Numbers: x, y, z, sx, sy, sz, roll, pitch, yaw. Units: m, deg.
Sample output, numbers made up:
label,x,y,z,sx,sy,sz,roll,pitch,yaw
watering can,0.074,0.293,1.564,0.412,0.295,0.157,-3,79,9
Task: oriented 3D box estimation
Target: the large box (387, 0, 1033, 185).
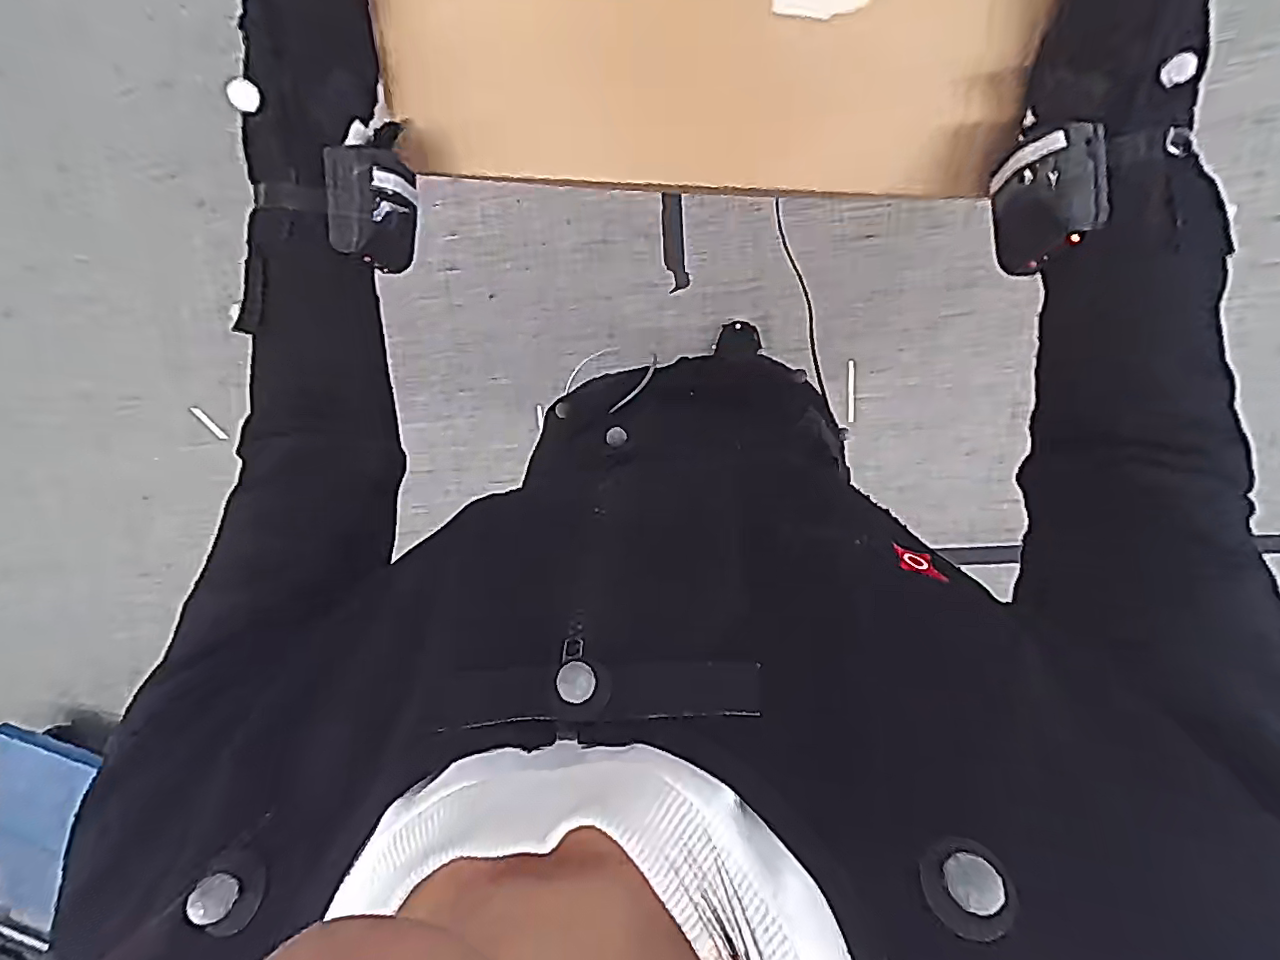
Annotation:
label,x,y,z,sx,sy,sz,roll,pitch,yaw
large box,0.045,-0.419,0.435,0.408,0.320,0.320,2,118,2
